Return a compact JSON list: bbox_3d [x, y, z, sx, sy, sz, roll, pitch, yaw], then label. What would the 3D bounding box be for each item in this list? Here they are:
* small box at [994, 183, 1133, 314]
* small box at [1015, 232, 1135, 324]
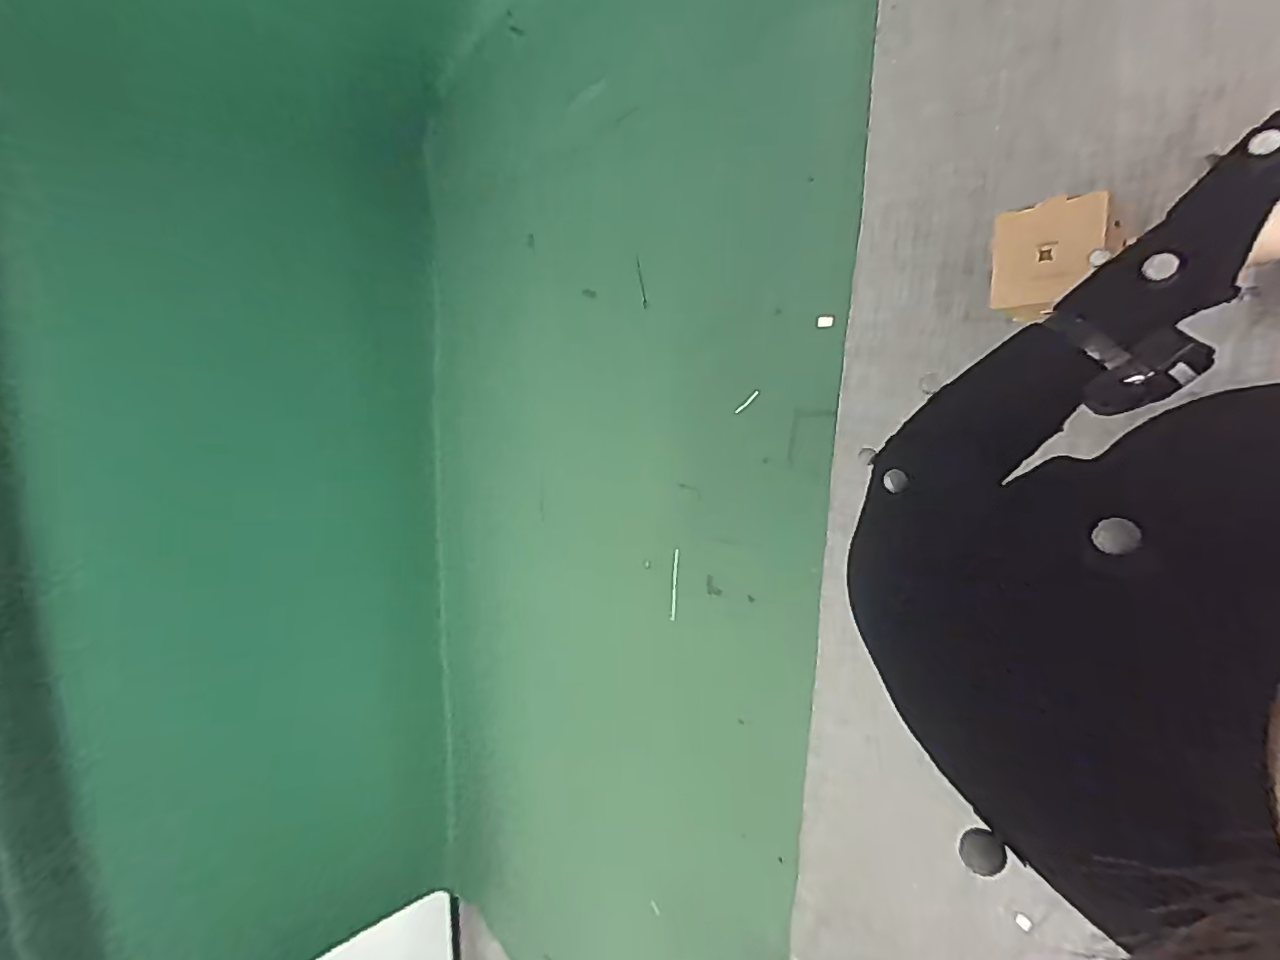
[{"bbox_3d":[0.789,-0.417,1.006,0.168,0.176,0.179,11,102,49],"label":"small box"},{"bbox_3d":[0.901,-0.430,1.119,0.168,0.176,0.179,7,100,48],"label":"small box"}]
